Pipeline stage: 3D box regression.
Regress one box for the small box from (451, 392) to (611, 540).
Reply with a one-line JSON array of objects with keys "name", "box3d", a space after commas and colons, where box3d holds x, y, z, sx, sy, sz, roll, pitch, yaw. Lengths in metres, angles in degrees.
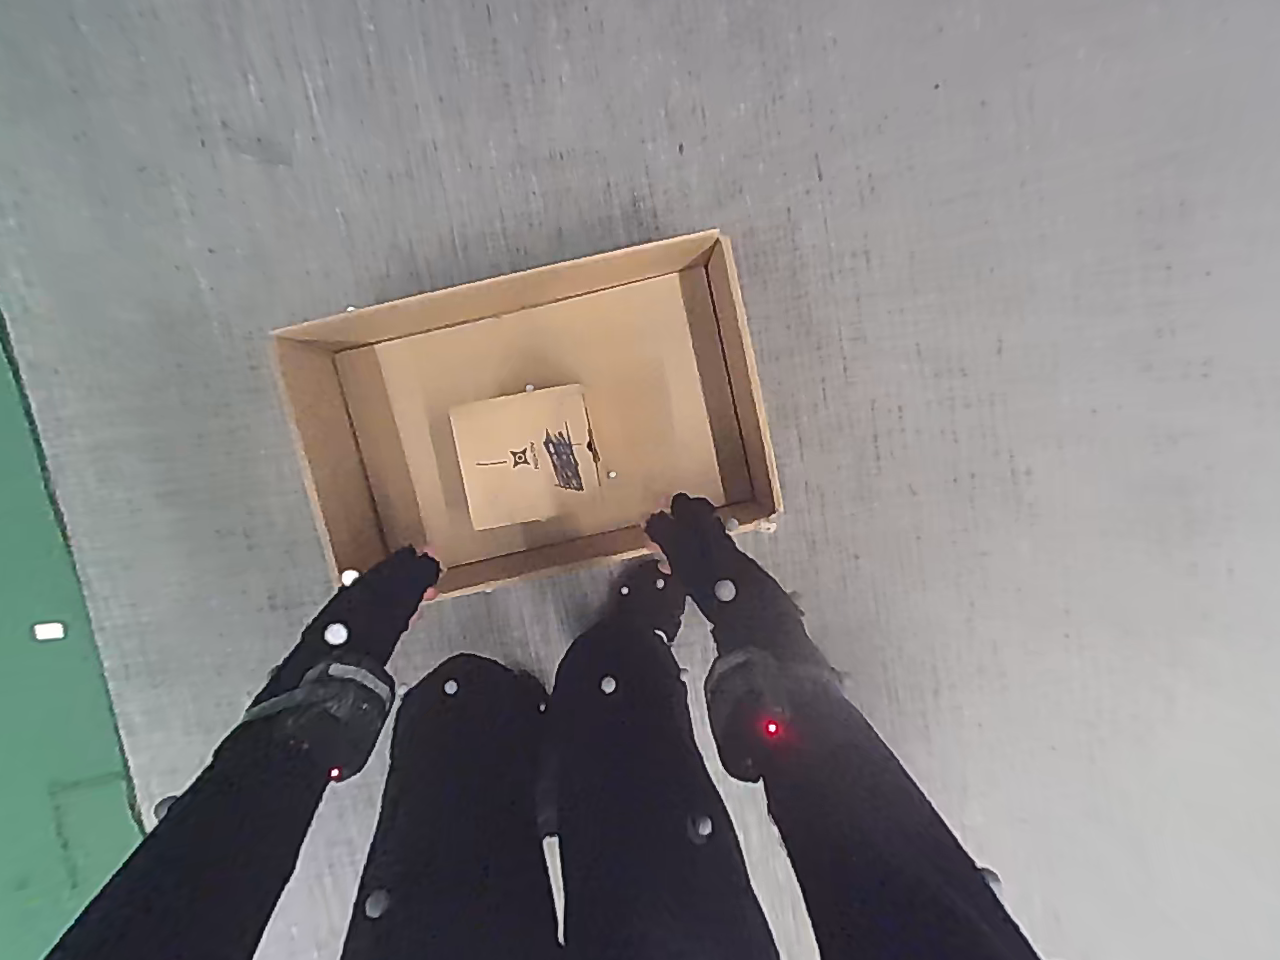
[{"name": "small box", "box3d": [-0.142, -0.026, 0.774, 0.179, 0.176, 0.168, -13, 95, 1]}]
